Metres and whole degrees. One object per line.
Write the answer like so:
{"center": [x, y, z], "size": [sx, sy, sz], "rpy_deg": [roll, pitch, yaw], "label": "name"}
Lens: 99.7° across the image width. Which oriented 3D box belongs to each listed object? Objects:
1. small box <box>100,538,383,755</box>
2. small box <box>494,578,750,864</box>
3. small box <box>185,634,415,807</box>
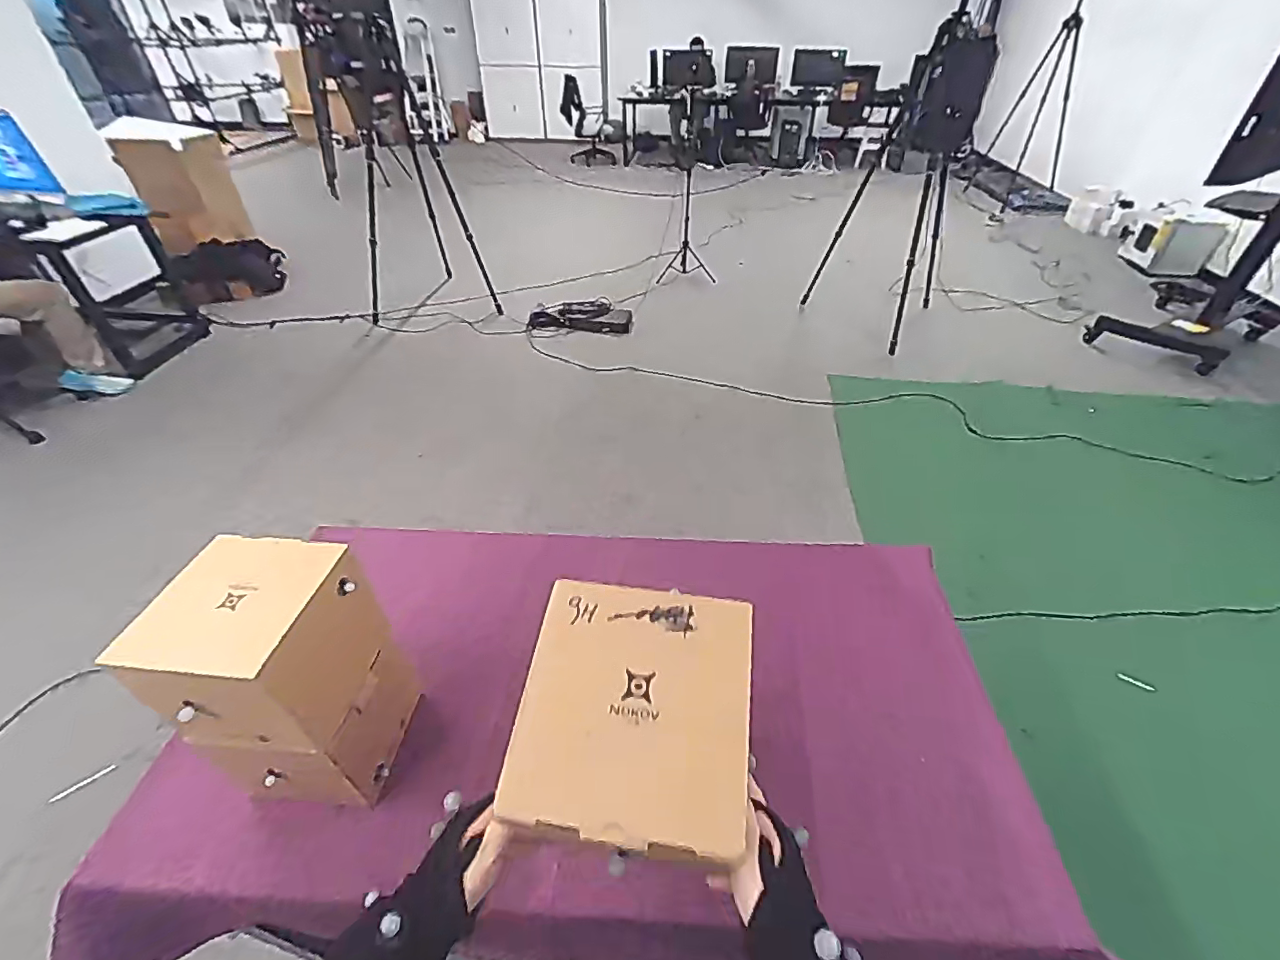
{"center": [-0.428, 0.192, 0.624], "size": [0.168, 0.176, 0.179], "rpy_deg": [4, 39, 4], "label": "small box"}
{"center": [-0.001, 0.208, 0.461], "size": [0.168, 0.176, 0.179], "rpy_deg": [6, 53, 7], "label": "small box"}
{"center": [-0.431, 0.318, 0.727], "size": [0.179, 0.176, 0.168], "rpy_deg": [3, 40, 4], "label": "small box"}
